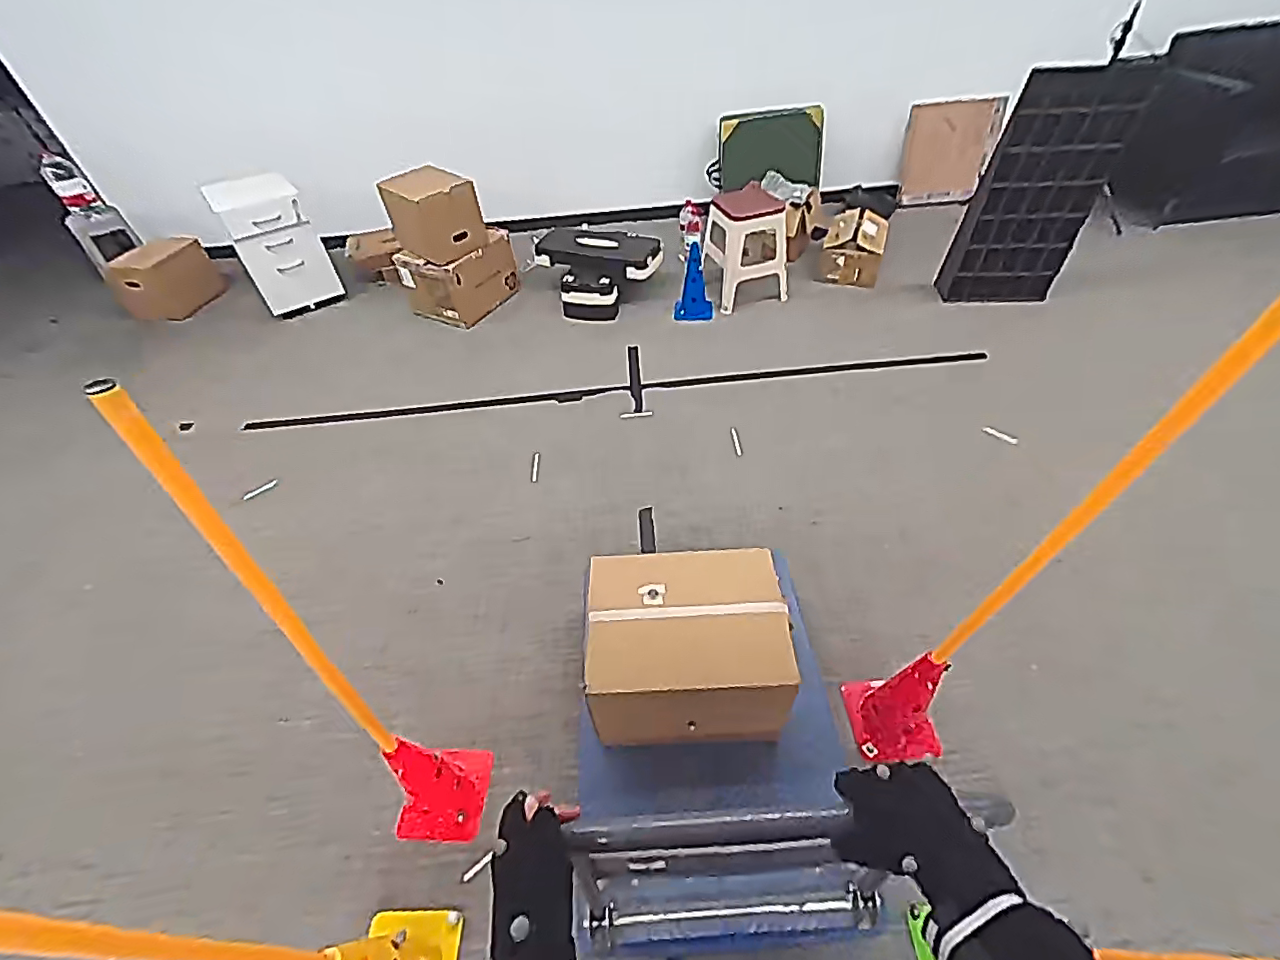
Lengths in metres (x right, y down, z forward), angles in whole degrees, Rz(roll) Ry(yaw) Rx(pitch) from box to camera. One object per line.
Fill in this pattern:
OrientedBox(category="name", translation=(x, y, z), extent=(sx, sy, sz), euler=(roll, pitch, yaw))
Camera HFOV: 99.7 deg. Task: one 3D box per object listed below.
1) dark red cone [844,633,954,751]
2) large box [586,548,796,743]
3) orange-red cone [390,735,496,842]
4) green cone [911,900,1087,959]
OrientedBox(category="dark red cone", translation=(0.638, 0.471, 1.261), extent=(0.201, 0.394, 0.202), euler=(-4, 46, -1))
OrientedBox(category="large box", translation=(0.104, 0.380, 1.223), extent=(0.408, 0.320, 0.320), euler=(-4, 46, 2))
OrientedBox(category="orange-red cone", translation=(-0.480, 0.656, 1.218), extent=(0.198, 0.360, 0.199), euler=(1, 45, 5))
OrientedBox(category="green cone", translation=(0.651, 0.833, 0.937), extent=(0.202, 0.368, 0.200), euler=(-2, 46, 2))
